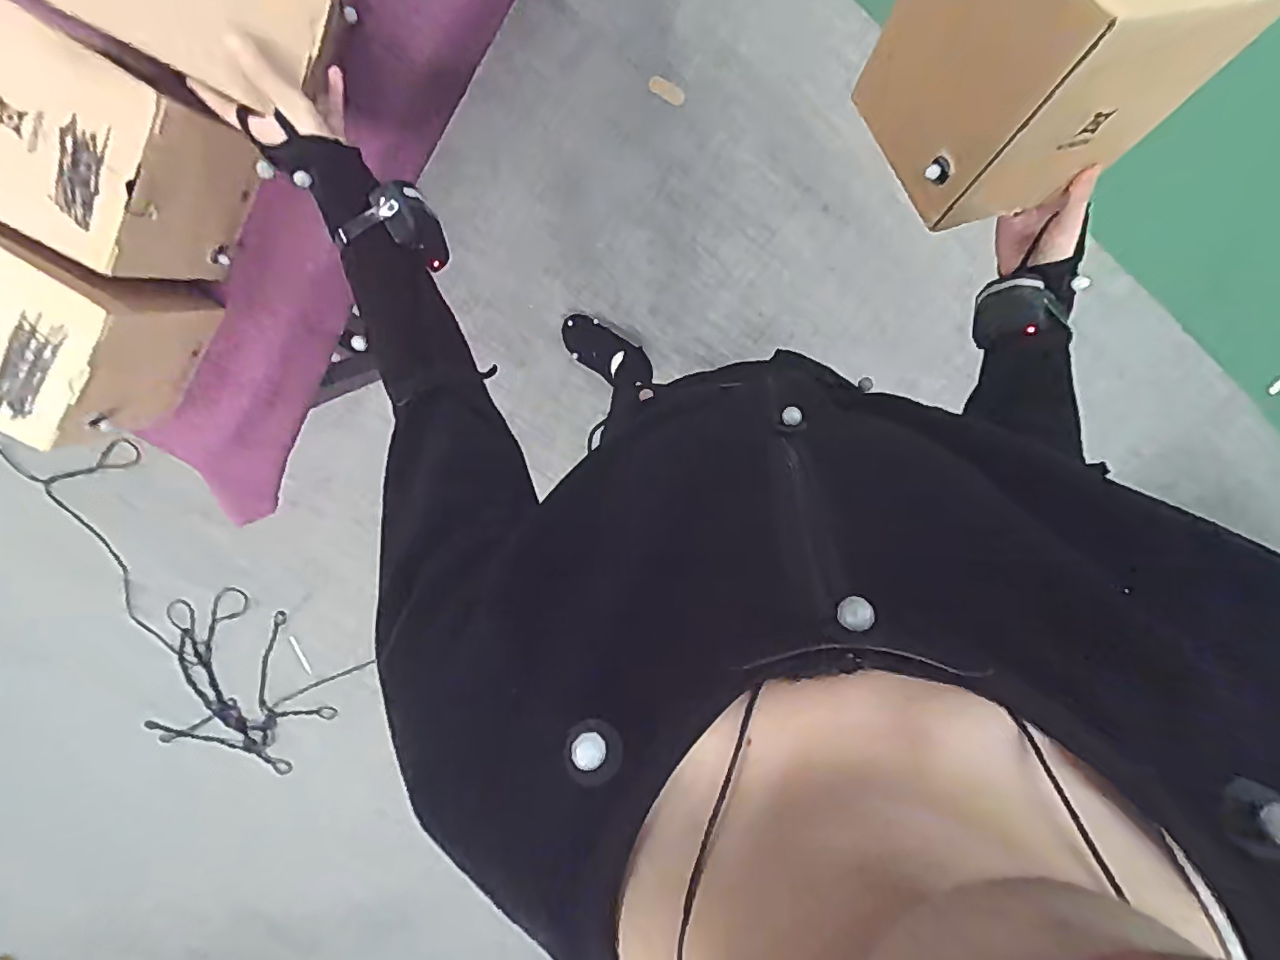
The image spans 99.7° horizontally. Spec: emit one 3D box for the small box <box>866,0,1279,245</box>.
[{"bbox_3d":[0.313,-0.328,0.426,0.168,0.179,0.176,-17,77,-11],"label":"small box"}]

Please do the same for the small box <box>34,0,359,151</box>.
[{"bbox_3d":[-0.366,-0.423,0.482,0.179,0.176,0.168,18,107,-32],"label":"small box"}]
